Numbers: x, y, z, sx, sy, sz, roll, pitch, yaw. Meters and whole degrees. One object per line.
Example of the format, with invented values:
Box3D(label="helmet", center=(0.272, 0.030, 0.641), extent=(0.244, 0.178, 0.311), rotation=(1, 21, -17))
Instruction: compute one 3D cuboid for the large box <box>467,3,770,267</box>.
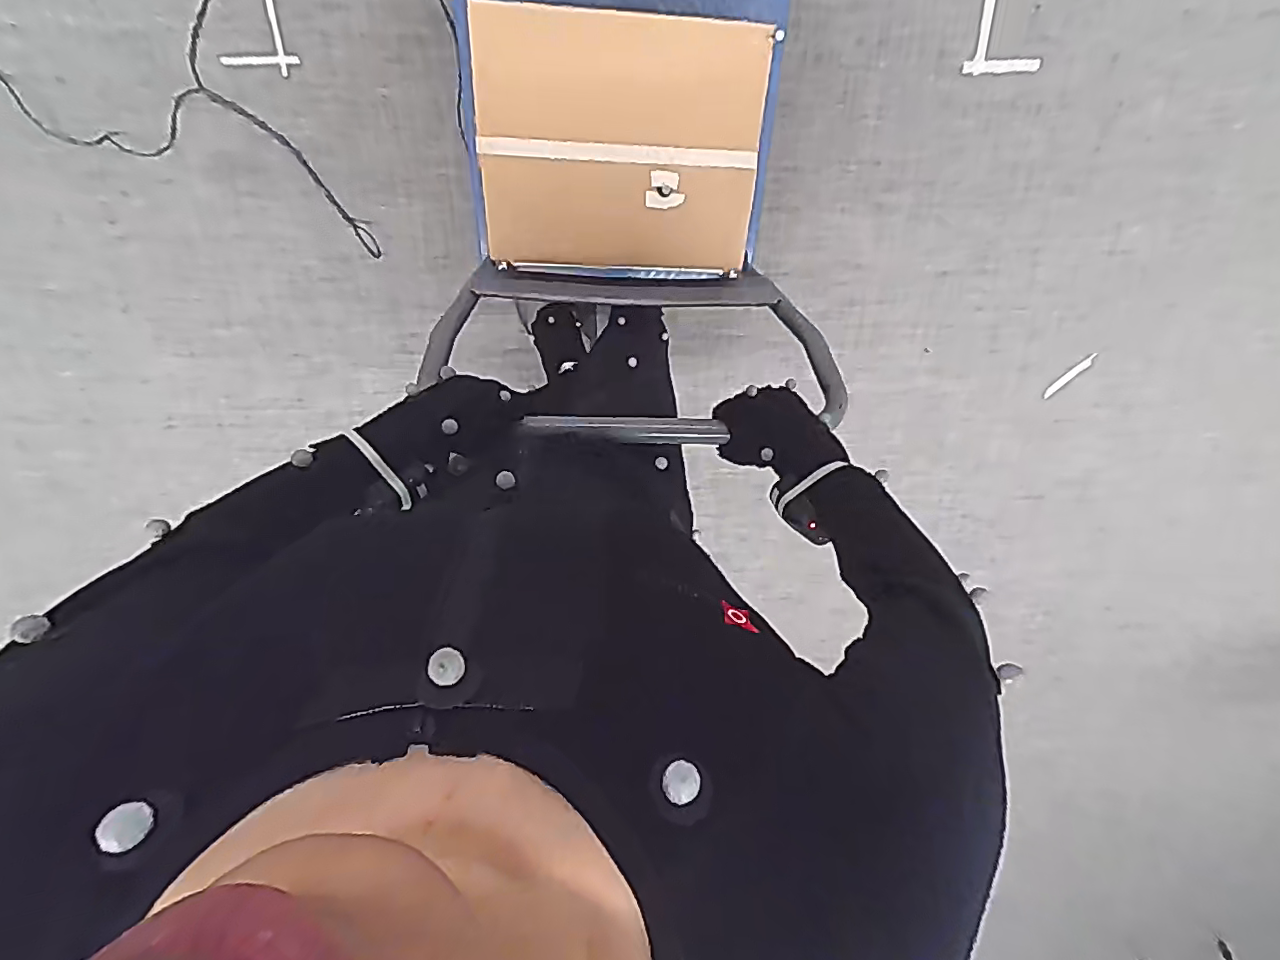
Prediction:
Box3D(label="large box", center=(-0.042, -0.549, 0.904), extent=(0.408, 0.320, 0.320), rotation=(0, 122, -6))
